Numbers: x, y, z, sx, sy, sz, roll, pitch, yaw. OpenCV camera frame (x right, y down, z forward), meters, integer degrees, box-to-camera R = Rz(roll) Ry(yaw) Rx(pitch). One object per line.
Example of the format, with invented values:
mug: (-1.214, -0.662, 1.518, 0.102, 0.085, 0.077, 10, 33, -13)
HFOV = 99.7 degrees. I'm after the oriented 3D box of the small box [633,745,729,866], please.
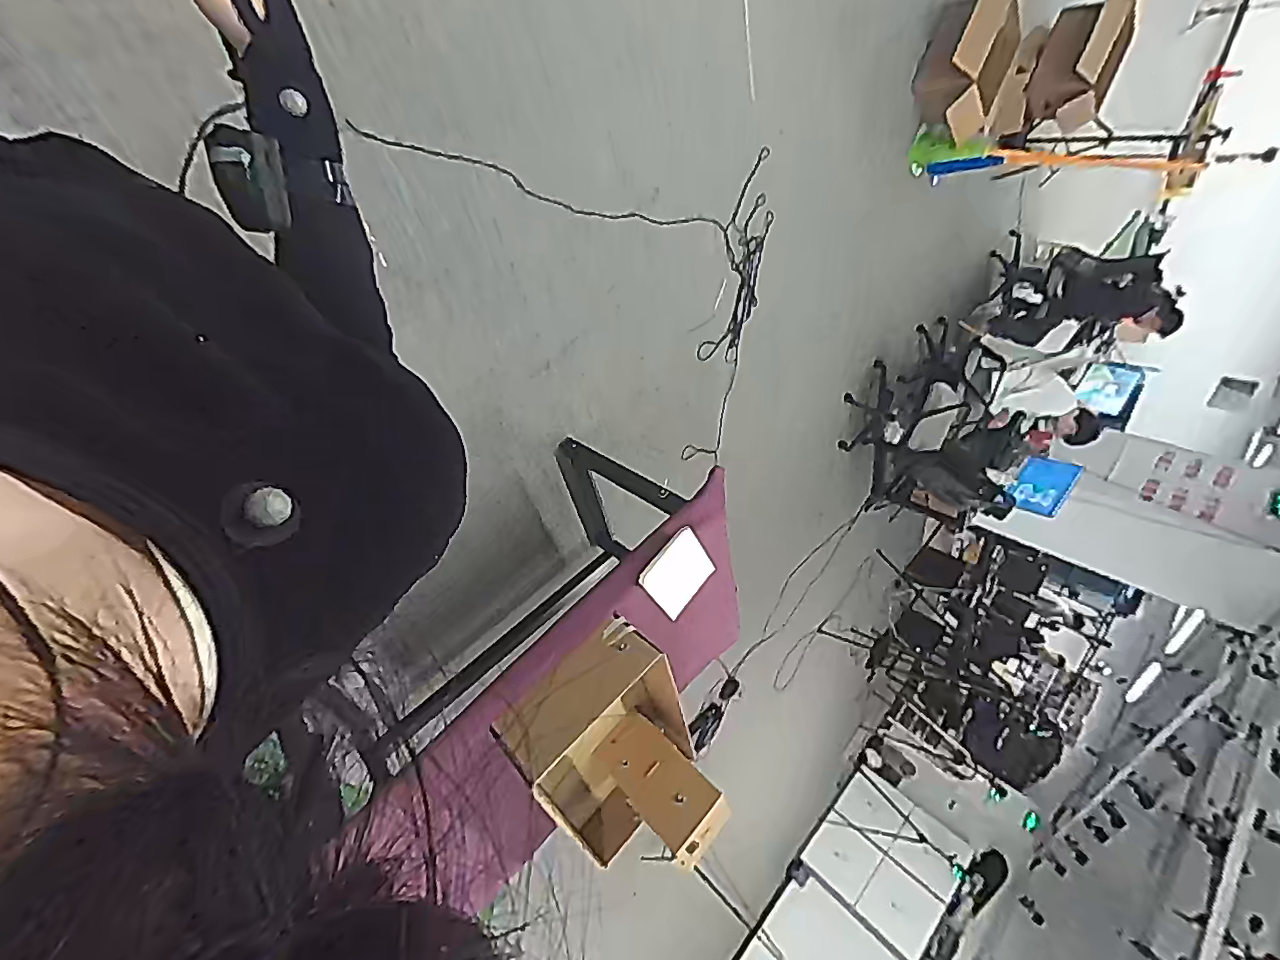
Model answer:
small box: (0.100, 0.830, 1.387, 0.179, 0.176, 0.168, -41, 136, -24)
